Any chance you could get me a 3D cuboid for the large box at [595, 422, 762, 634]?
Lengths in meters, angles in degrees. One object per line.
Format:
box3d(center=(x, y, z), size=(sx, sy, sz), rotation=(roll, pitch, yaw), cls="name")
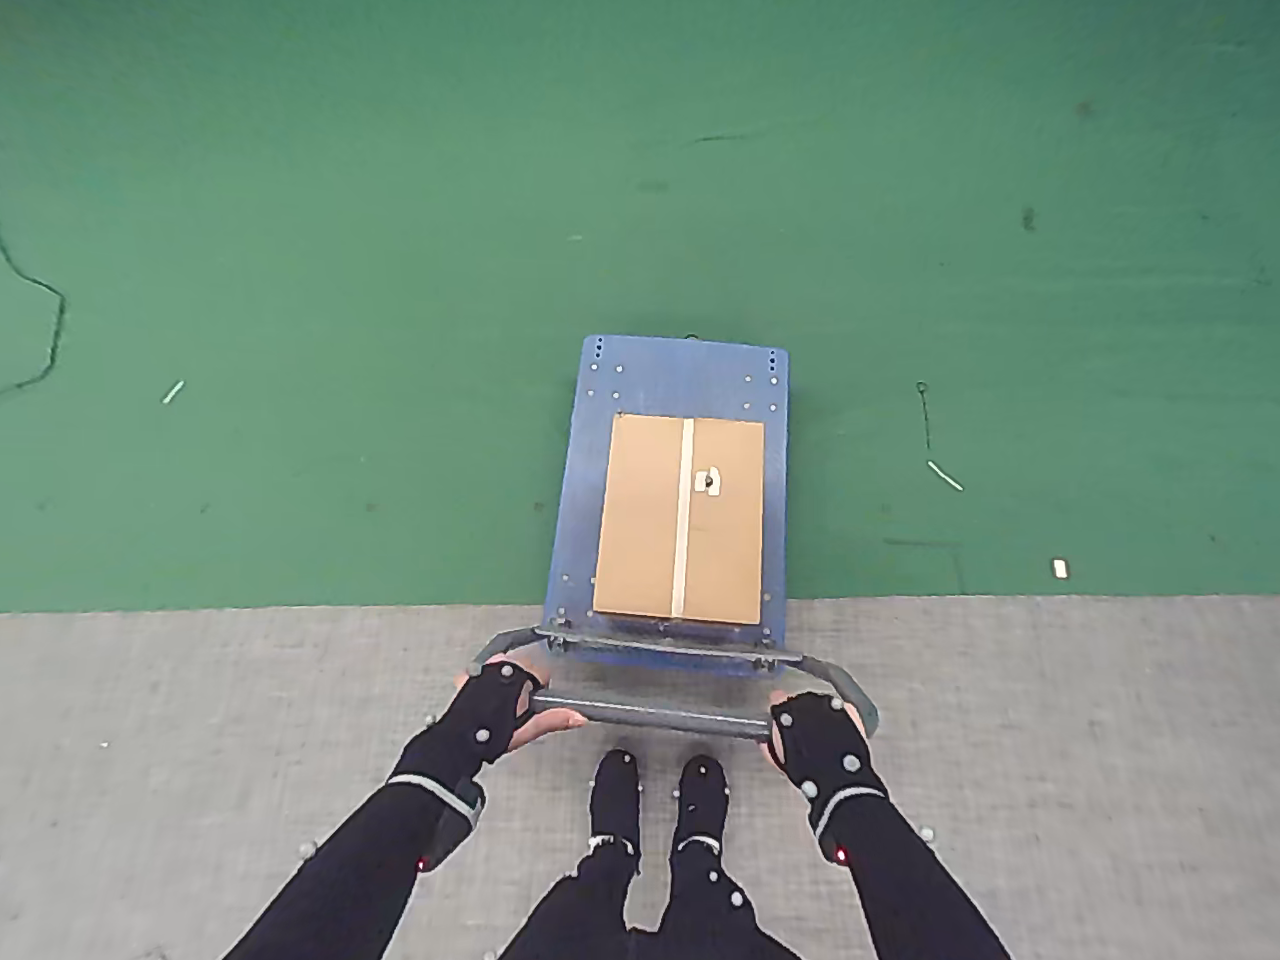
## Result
box3d(center=(0.088, 0.123, 1.202), size=(0.320, 0.320, 0.408), rotation=(5, 72, 2), cls="large box")
